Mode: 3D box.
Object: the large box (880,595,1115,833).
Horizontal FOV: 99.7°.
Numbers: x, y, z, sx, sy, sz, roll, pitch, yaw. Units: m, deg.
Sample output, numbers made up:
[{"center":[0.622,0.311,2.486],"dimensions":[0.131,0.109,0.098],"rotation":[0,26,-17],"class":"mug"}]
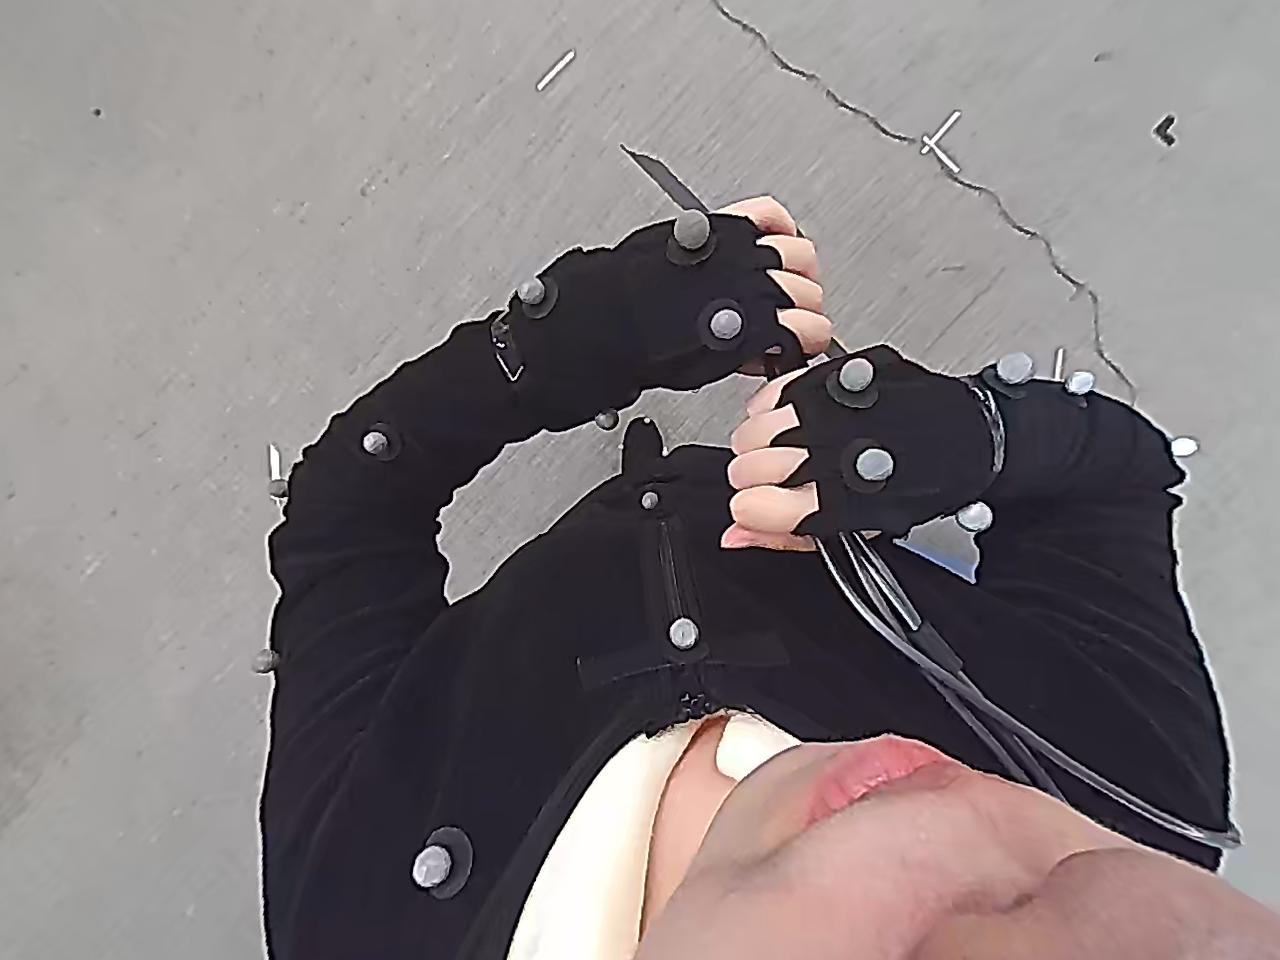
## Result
[{"center":[0.774,0.496,1.221],"dimensions":[0.320,0.320,0.408],"rotation":[5,92,-2],"class":"large box"}]
